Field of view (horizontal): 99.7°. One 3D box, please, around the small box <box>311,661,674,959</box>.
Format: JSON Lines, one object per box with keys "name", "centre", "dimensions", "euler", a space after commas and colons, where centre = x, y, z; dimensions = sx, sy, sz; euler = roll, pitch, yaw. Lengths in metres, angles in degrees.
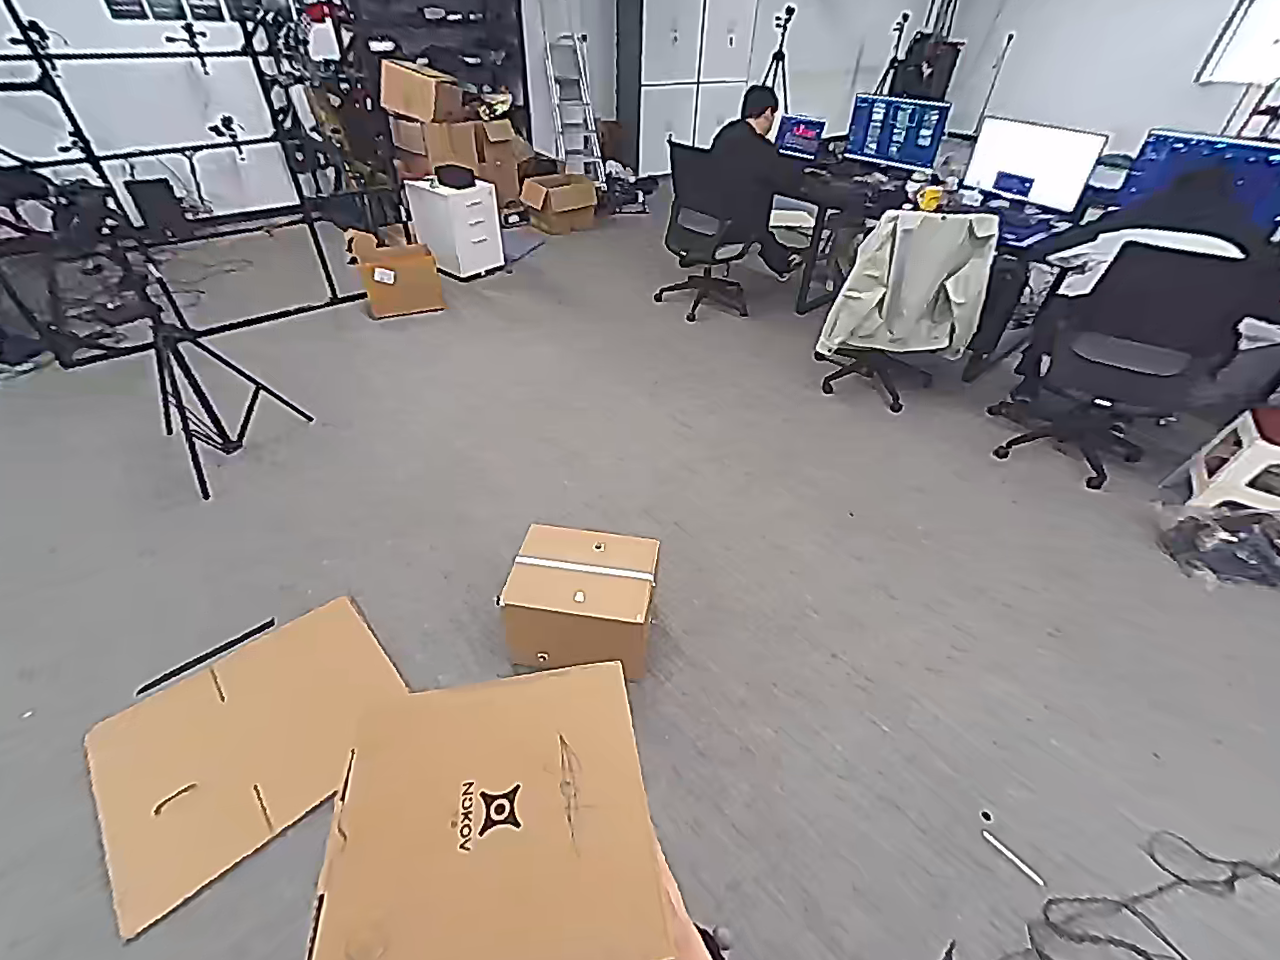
{"name": "small box", "centre": [-0.081, 0.250, 0.358], "dimensions": [0.179, 0.176, 0.168], "euler": [-7, 40, -9]}
